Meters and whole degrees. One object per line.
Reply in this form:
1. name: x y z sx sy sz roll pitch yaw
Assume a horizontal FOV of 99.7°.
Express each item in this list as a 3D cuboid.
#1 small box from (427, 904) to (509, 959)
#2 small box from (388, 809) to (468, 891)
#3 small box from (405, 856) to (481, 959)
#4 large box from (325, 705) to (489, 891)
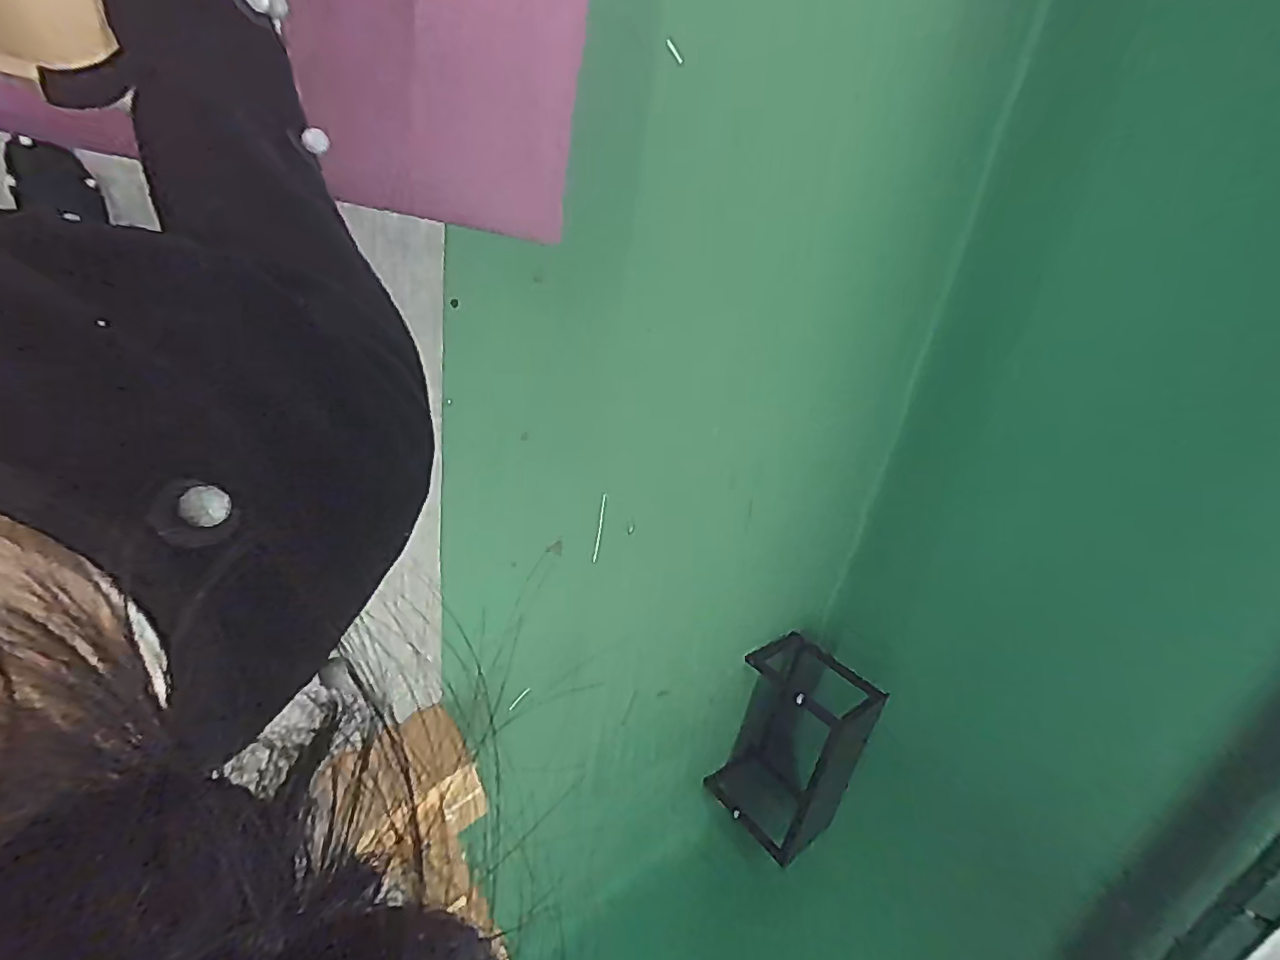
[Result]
1. small box: -0.469 1.328 1.489 0.168 0.176 0.179 -21 124 -33
2. small box: -0.671 1.196 1.711 0.179 0.176 0.168 -21 125 -33
3. small box: -0.576 1.265 1.597 0.168 0.176 0.179 -20 124 -34
4. large box: -0.805 1.091 1.890 0.408 0.320 0.320 -26 129 -32
